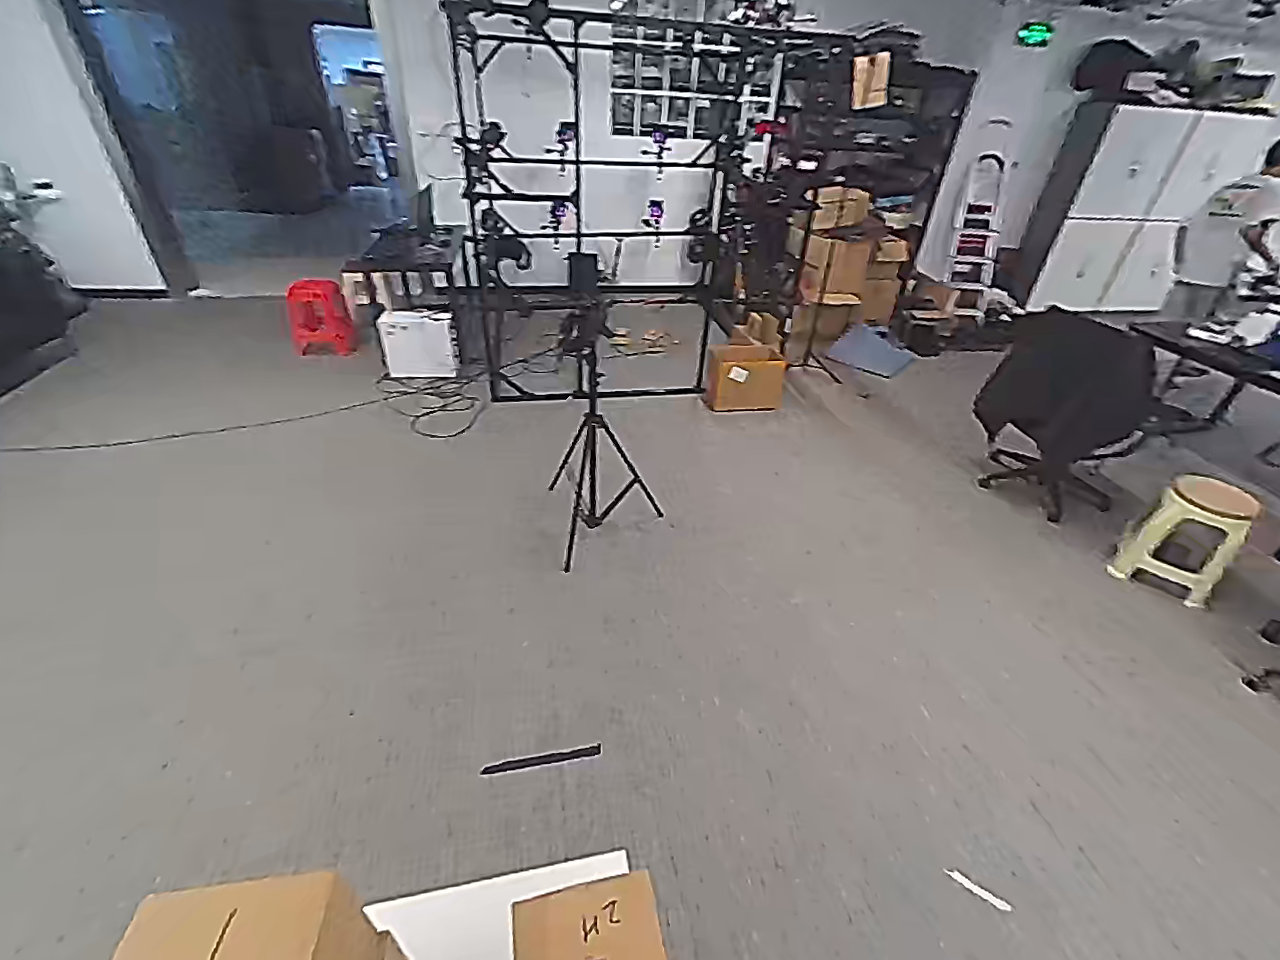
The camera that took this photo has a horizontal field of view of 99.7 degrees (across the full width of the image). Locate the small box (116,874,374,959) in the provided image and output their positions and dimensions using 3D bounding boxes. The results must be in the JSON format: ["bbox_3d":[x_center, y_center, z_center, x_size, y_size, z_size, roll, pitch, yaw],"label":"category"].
[{"bbox_3d":[-0.353,0.488,0.473,0.168,0.176,0.179,-3,34,-8],"label":"small box"}]

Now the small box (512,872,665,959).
[{"bbox_3d":[-0.052,0.598,0.620,0.168,0.176,0.179,-6,36,-12],"label":"small box"}]
